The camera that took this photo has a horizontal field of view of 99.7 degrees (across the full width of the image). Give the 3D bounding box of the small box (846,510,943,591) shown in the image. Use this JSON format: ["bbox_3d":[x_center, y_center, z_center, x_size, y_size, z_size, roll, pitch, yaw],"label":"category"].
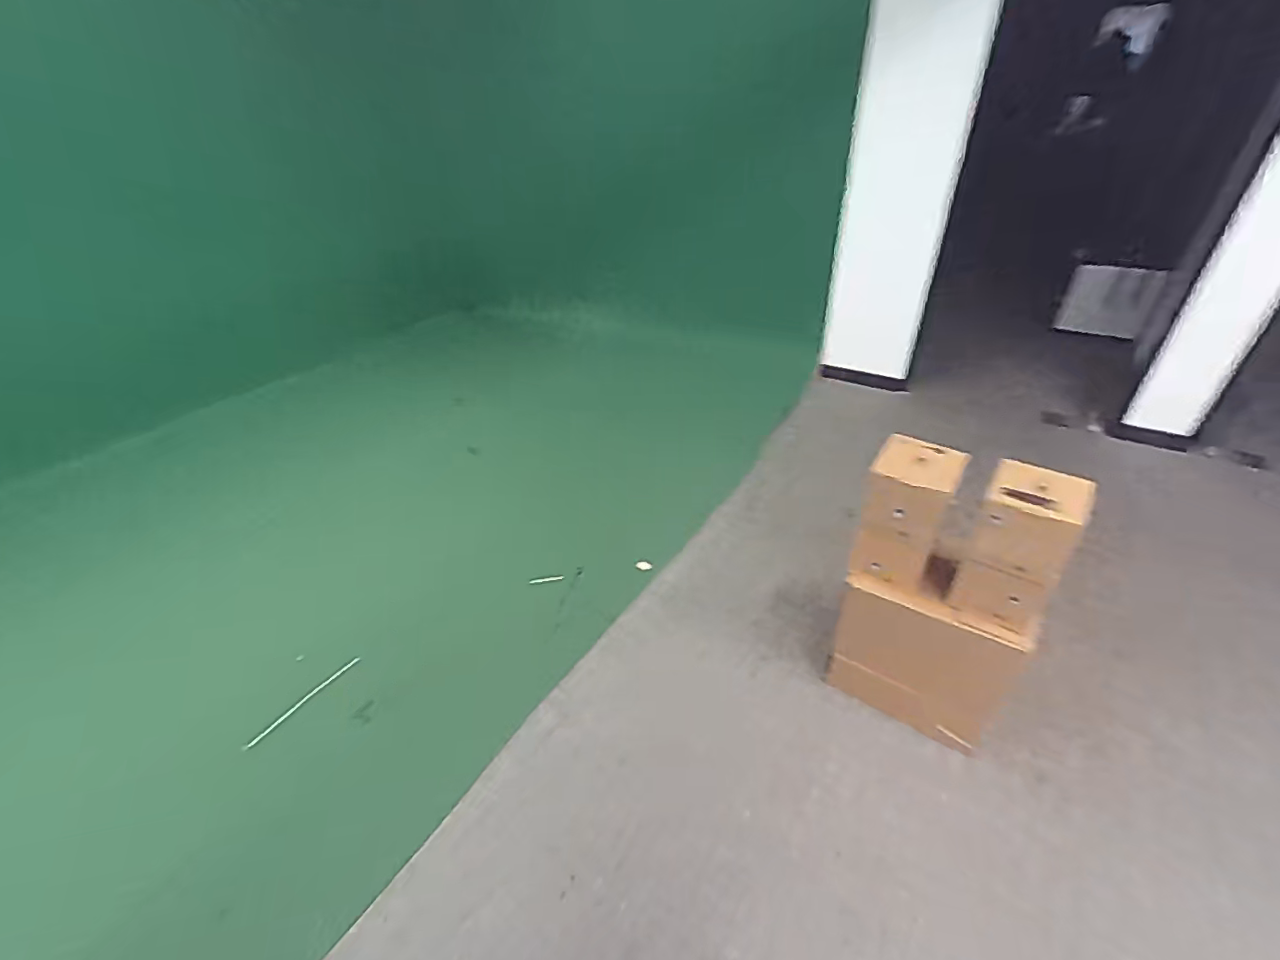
[{"bbox_3d":[0.638,0.144,1.367,0.168,0.176,0.179,21,46,29],"label":"small box"}]

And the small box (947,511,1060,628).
[{"bbox_3d":[0.839,0.209,1.259,0.168,0.176,0.179,22,44,32],"label":"small box"}]

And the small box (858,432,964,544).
[{"bbox_3d":[0.625,0.019,1.262,0.168,0.176,0.179,23,47,29],"label":"small box"}]
